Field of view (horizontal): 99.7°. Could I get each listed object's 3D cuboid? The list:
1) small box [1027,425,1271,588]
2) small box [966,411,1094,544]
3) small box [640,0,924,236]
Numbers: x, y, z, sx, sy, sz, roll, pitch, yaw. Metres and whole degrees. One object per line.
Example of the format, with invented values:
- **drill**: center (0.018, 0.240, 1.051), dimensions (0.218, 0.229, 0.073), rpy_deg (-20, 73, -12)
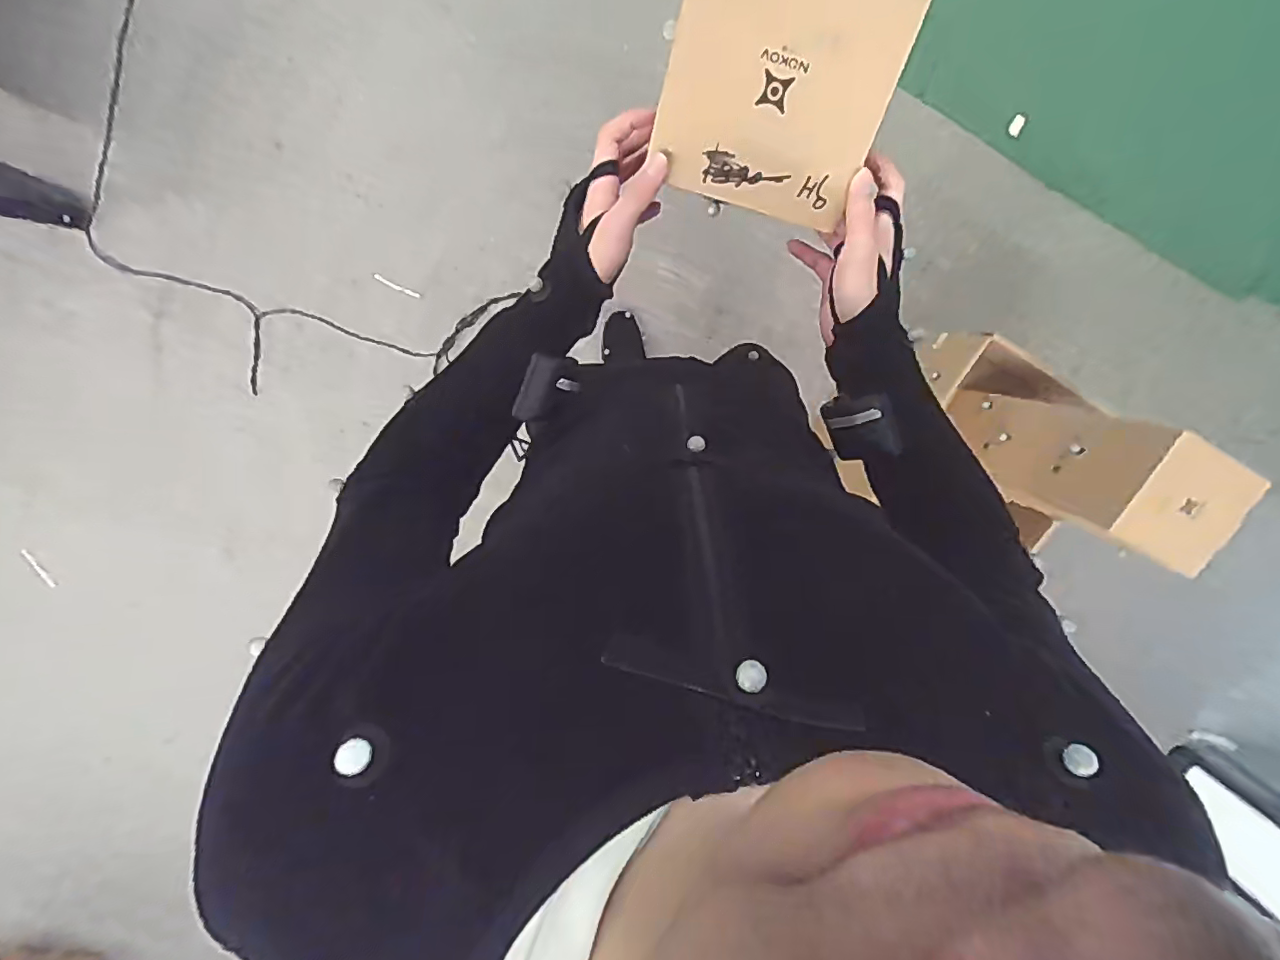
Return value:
- **small box**: center (0.761, 0.030, 0.830), dimensions (0.179, 0.176, 0.168), rpy_deg (27, 101, -10)
- **small box**: center (0.754, -0.013, 0.987), dimensions (0.179, 0.176, 0.168), rpy_deg (26, 102, -10)
- **small box**: center (0.100, -0.330, 0.459), dimensions (0.168, 0.176, 0.179), rpy_deg (14, 121, -5)
